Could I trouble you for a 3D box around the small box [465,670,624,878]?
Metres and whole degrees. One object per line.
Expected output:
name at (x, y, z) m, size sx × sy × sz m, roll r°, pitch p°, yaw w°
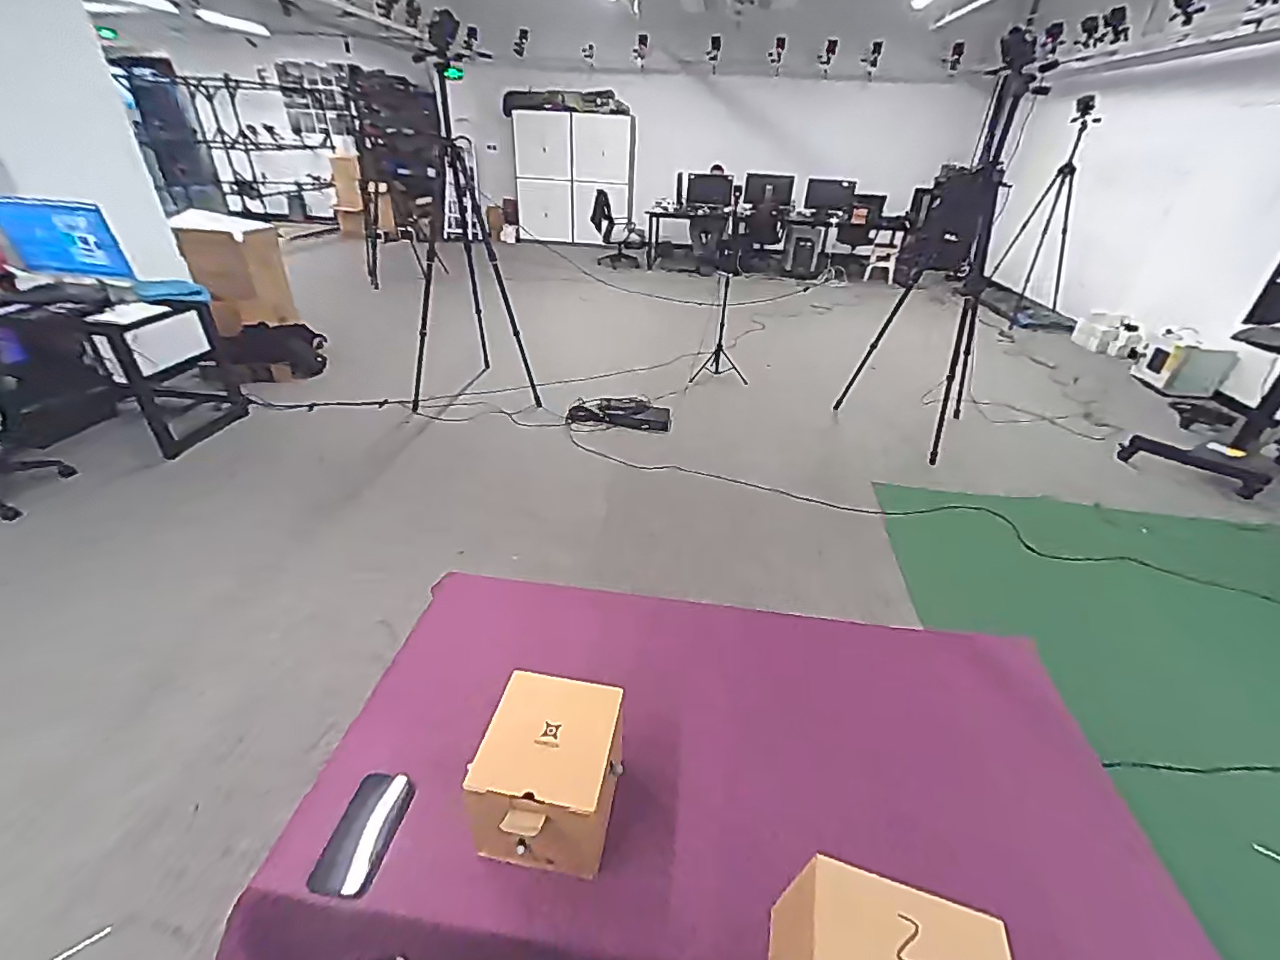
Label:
small box at (-0.124, 0.401, 0.749) m, size 0.168 × 0.176 × 0.179 m, roll 9°, pitch 32°, yaw 7°
